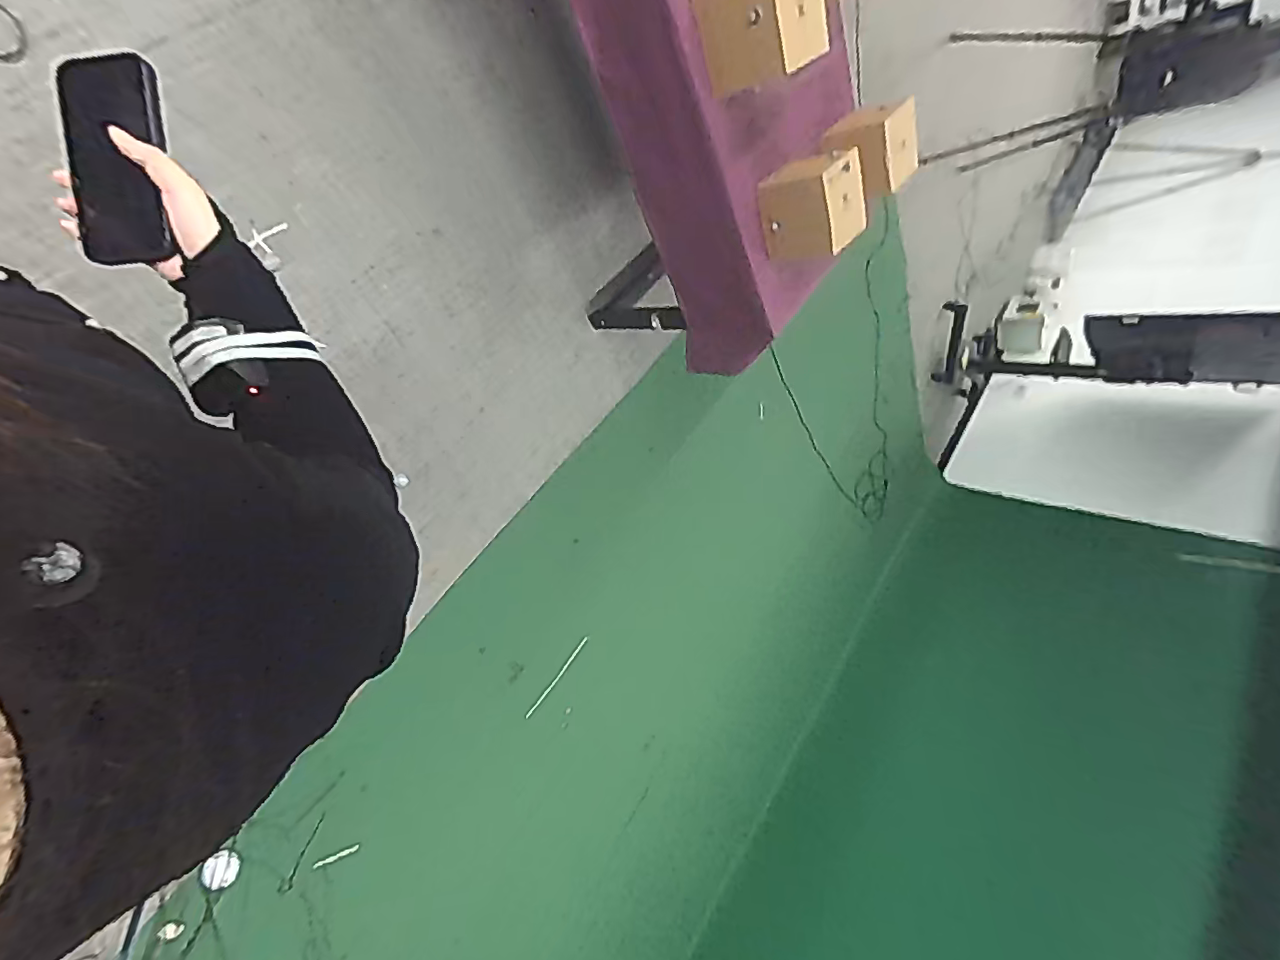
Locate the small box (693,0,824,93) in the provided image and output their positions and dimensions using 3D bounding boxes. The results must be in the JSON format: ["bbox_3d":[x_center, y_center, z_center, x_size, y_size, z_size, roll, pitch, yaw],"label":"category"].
[{"bbox_3d":[0.219,-0.866,1.010,0.168,0.176,0.179,-46,131,-27],"label":"small box"}]

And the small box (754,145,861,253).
[{"bbox_3d":[0.388,-0.642,1.253,0.168,0.176,0.179,-45,130,-28],"label":"small box"}]

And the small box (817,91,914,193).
[{"bbox_3d":[0.578,-0.854,1.385,0.179,0.176,0.168,-47,130,-25],"label":"small box"}]
